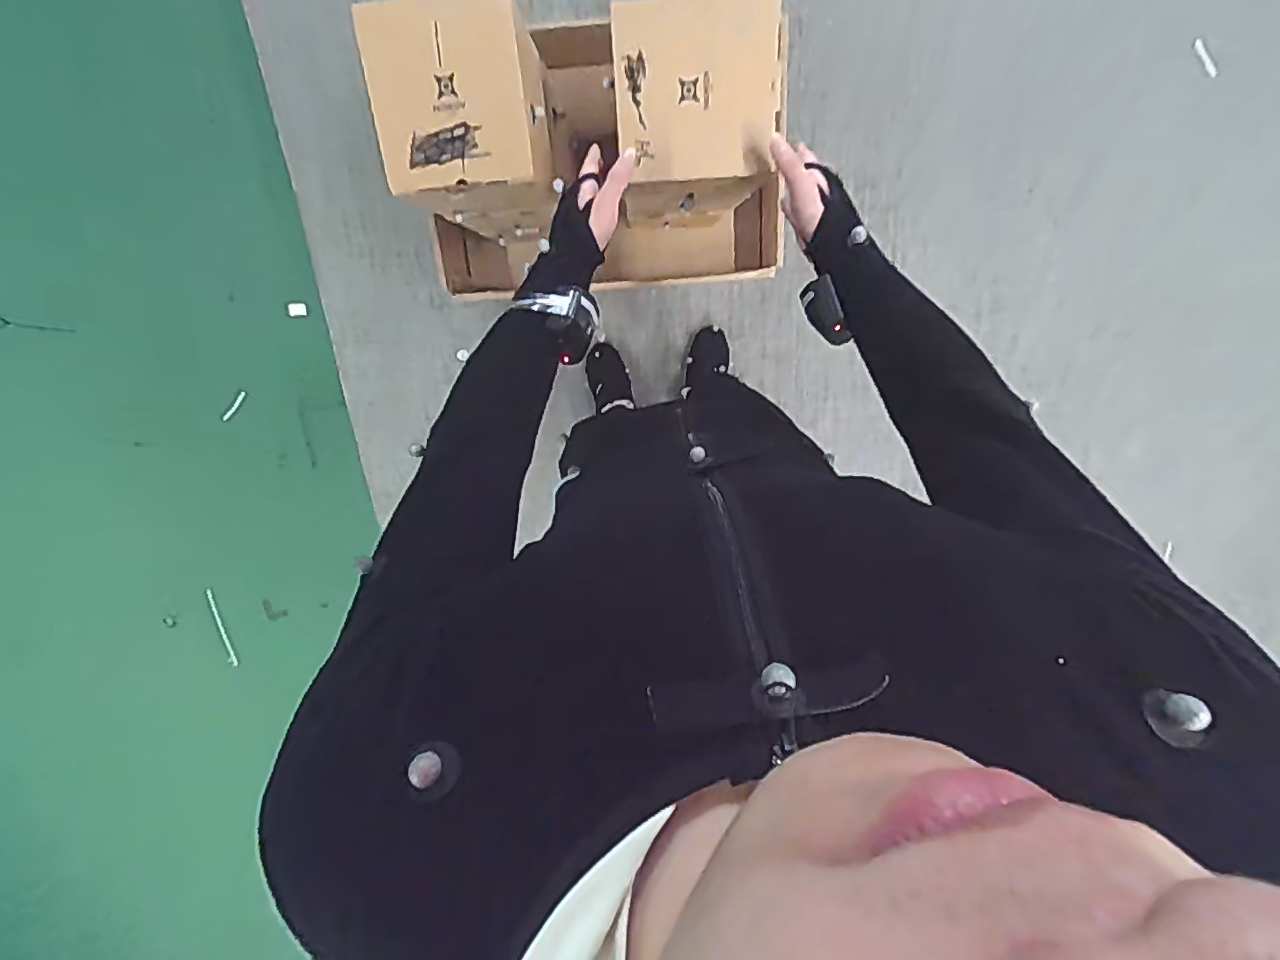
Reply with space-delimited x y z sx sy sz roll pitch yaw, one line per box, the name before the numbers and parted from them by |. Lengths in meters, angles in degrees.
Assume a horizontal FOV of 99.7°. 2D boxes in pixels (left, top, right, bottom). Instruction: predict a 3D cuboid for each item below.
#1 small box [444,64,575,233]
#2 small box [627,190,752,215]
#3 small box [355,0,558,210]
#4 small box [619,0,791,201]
small box | -0.193 -0.475 0.798 0.168 0.176 0.179 -3 109 2
small box | 0.067 -0.491 0.795 0.179 0.176 0.168 -2 111 0
small box | -0.198 -0.428 0.640 0.168 0.176 0.179 -5 108 1
small box | 0.066 -0.435 0.641 0.179 0.176 0.168 -3 110 0
